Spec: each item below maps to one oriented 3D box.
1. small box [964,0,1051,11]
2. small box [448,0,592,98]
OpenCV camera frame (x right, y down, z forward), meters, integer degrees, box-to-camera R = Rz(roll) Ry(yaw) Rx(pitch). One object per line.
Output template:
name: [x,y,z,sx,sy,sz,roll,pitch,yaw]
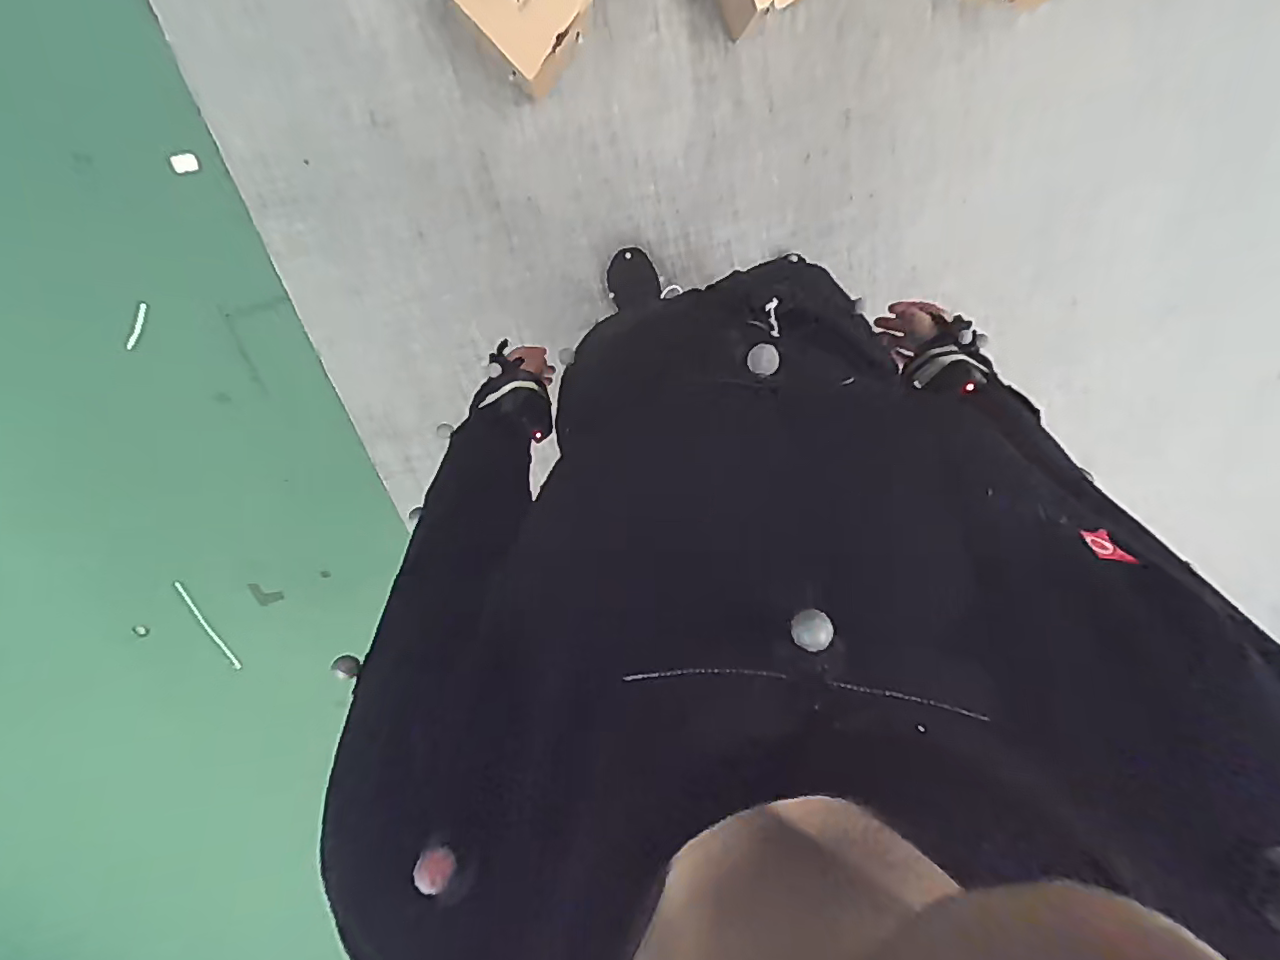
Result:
small box: [0.698,-0.961,0.934,0.168,0.176,0.179,3,115,-6]
small box: [-0.198,-0.805,0.937,0.179,0.176,0.168,39,105,-18]
